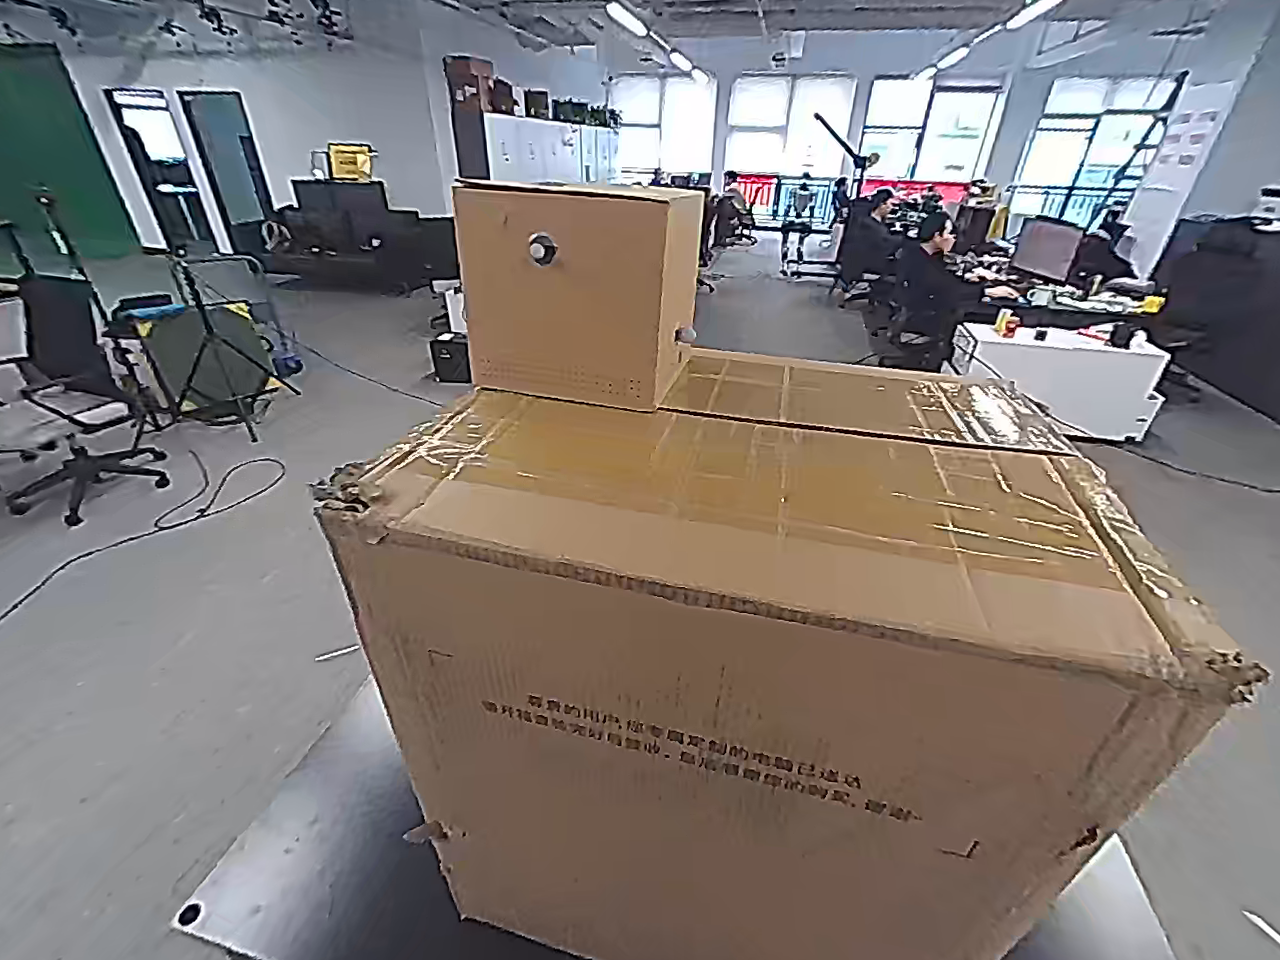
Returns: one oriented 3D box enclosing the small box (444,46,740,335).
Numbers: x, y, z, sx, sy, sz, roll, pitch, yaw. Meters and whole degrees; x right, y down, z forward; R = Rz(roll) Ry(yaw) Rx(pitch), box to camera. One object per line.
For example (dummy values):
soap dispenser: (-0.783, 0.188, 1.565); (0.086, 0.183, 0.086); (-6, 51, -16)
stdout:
small box: (-0.026, -0.220, 0.430); (0.179, 0.176, 0.168); (10, 31, 11)
